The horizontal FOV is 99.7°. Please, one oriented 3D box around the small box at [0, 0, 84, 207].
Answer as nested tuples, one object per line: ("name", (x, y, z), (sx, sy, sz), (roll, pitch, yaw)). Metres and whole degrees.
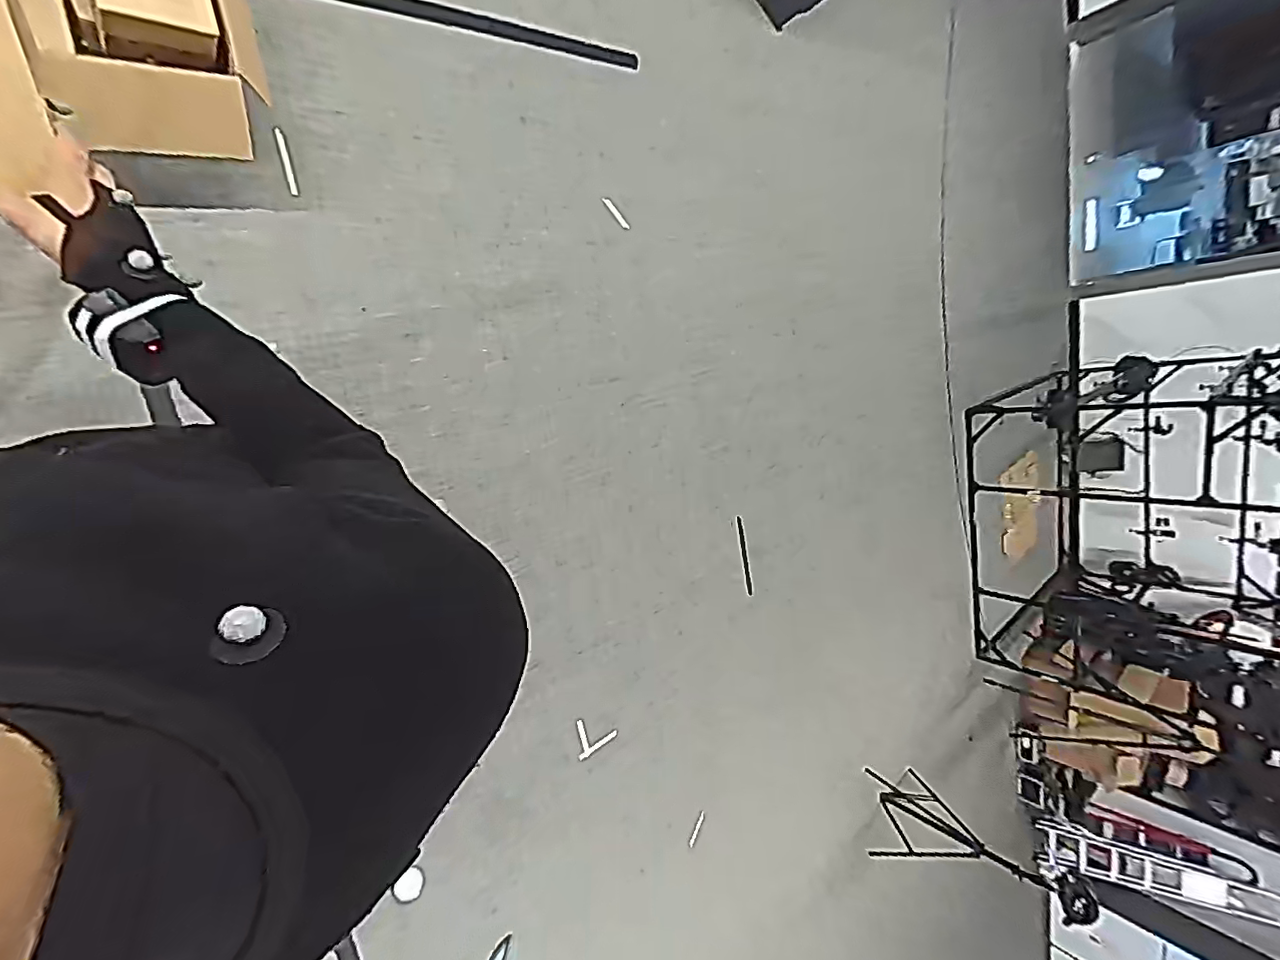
("small box", (-0.596, -0.327, 0.440), (0.168, 0.176, 0.179), (-18, 122, -37))
